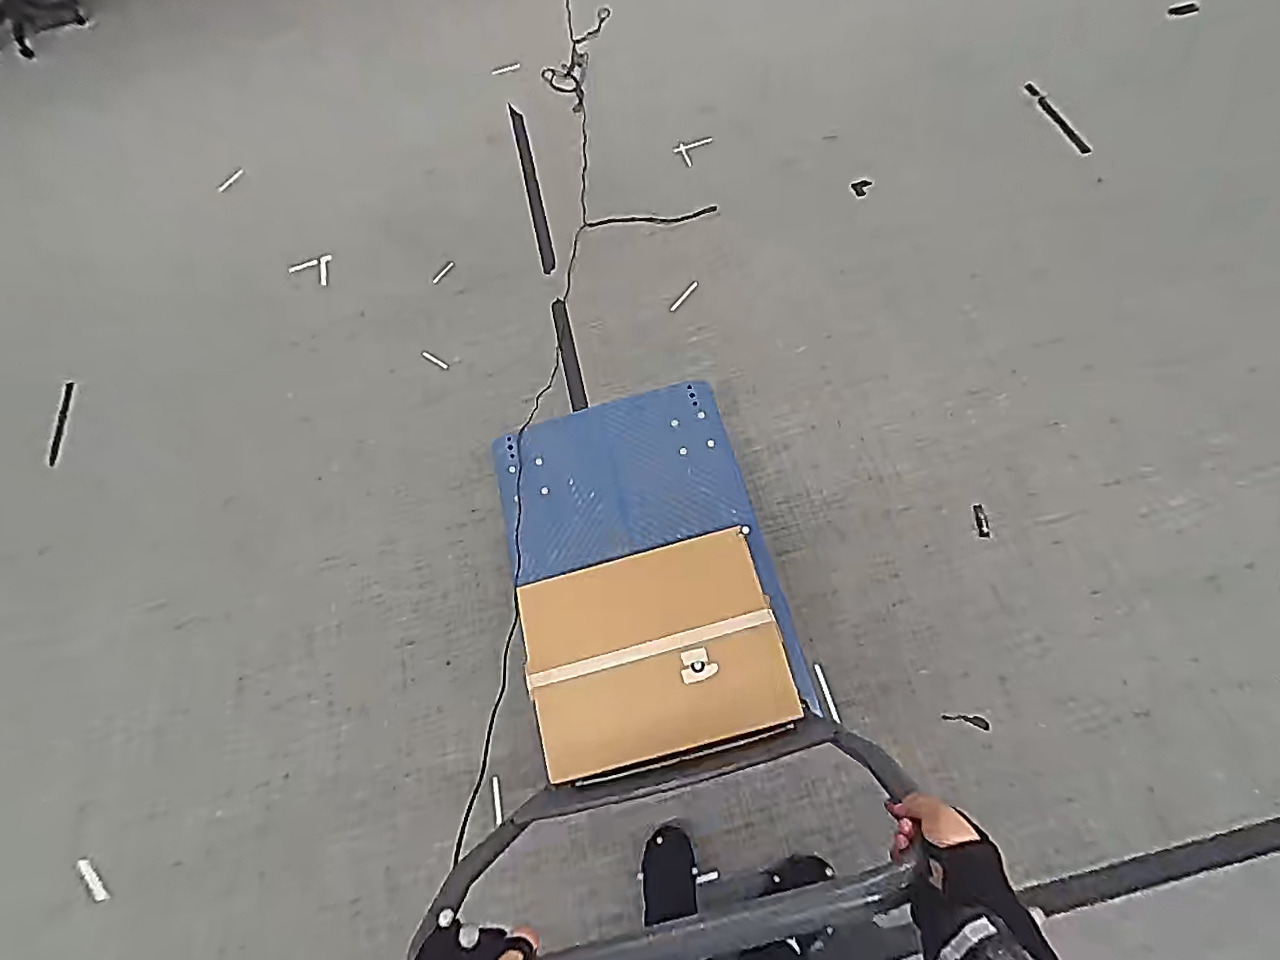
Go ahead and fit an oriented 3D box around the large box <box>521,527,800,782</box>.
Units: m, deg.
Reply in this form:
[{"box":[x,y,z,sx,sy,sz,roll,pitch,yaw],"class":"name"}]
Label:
[{"box":[0.034,0.326,1.025,0.408,0.320,0.320,-16,70,0],"class":"large box"}]
